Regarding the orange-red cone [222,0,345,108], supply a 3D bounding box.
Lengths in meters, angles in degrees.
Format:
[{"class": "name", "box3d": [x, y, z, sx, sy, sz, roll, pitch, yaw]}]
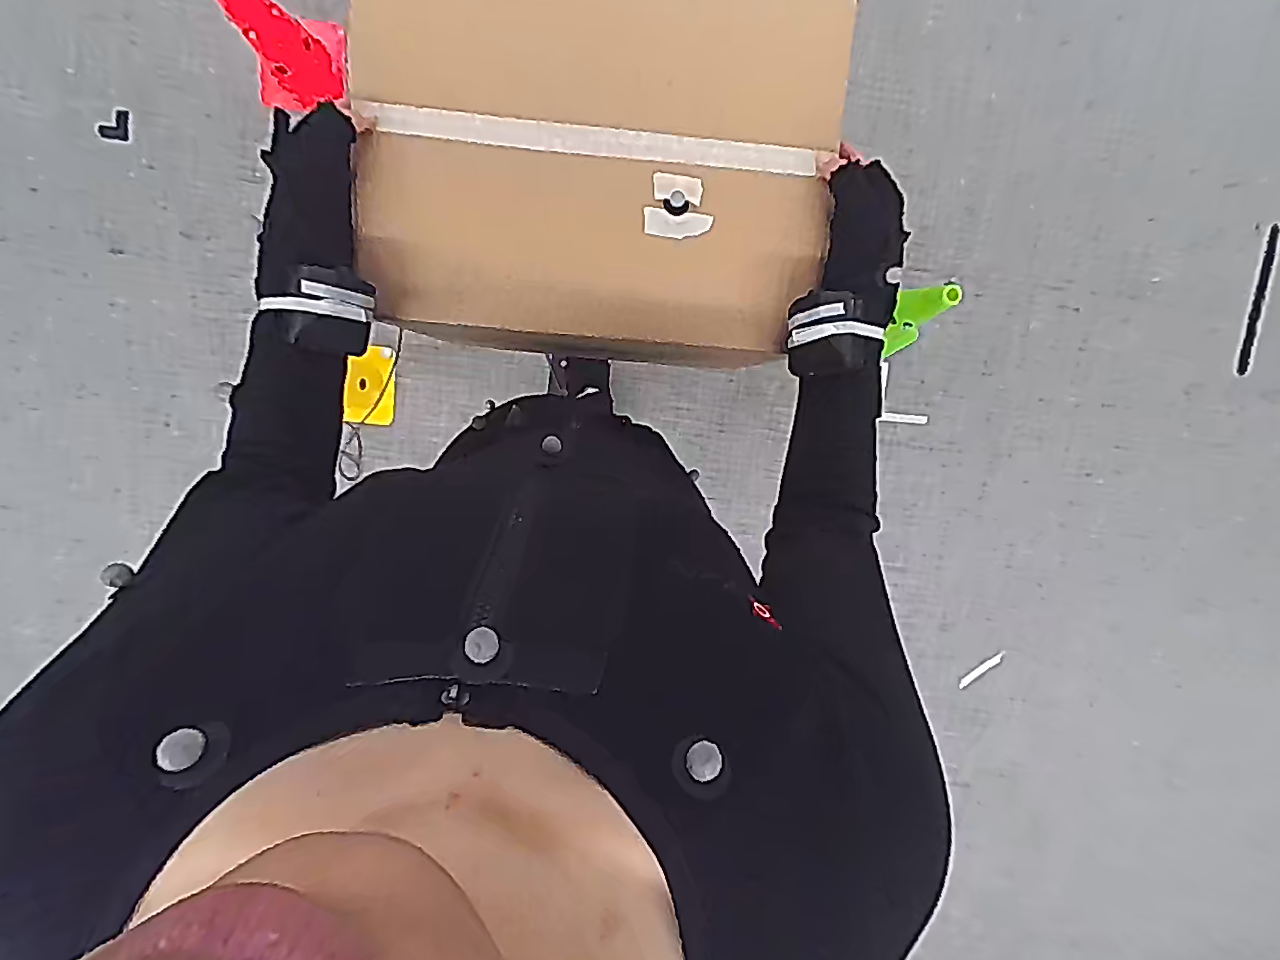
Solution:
[{"class": "orange-red cone", "box3d": [-0.798, -0.969, 1.117, 0.198, 0.360, 0.199, 4, 99, -2]}]

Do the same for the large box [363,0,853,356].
[{"class": "large box", "box3d": [-0.038, -0.316, 0.600, 0.408, 0.320, 0.320, 4, 100, -4]}]

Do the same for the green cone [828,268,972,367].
[{"class": "green cone", "box3d": [0.625, -0.400, 1.247, 0.202, 0.368, 0.200, -31, 99, 1]}]
